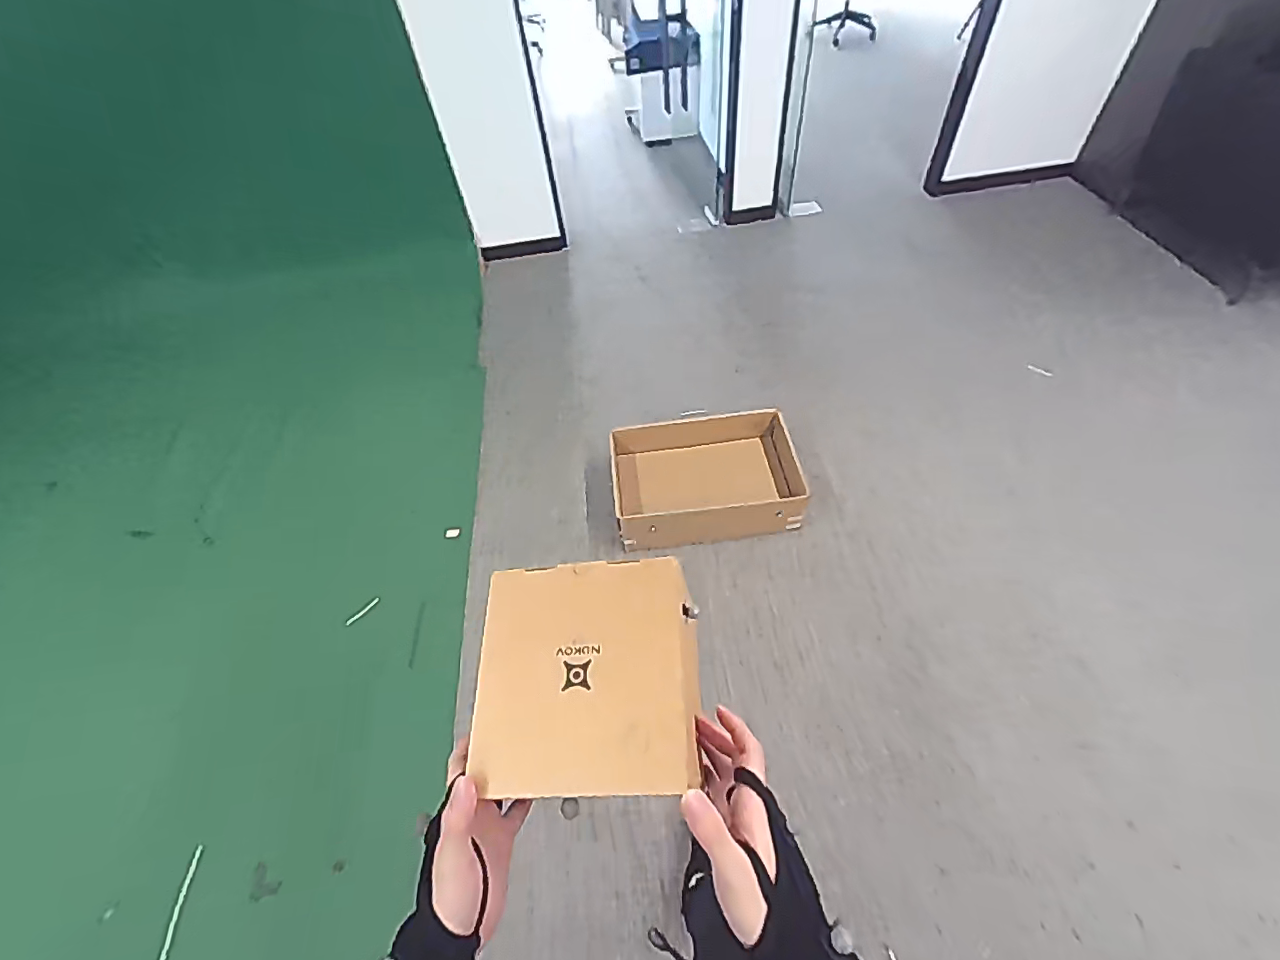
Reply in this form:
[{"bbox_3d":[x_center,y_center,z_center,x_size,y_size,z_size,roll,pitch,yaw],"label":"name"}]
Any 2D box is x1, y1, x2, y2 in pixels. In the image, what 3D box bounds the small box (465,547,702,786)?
[{"bbox_3d":[-0.035,0.179,0.494,0.168,0.176,0.179,-6,58,8],"label":"small box"}]
